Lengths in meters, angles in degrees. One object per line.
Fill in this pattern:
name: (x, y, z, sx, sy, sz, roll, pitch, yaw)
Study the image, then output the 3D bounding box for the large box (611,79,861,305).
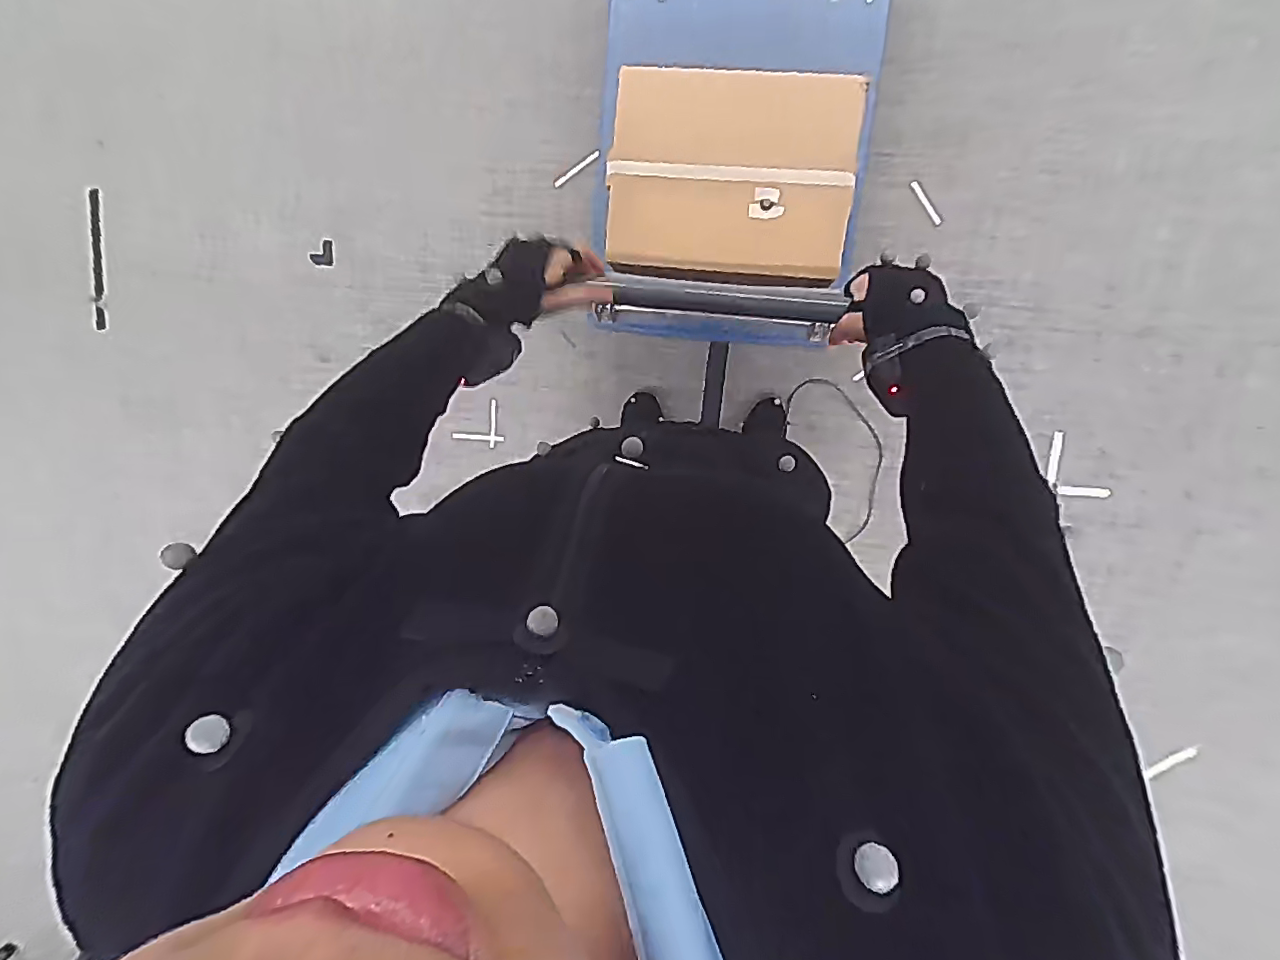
large box: (0.168, -0.537, 1.069, 0.408, 0.320, 0.320, 6, 101, 5)
